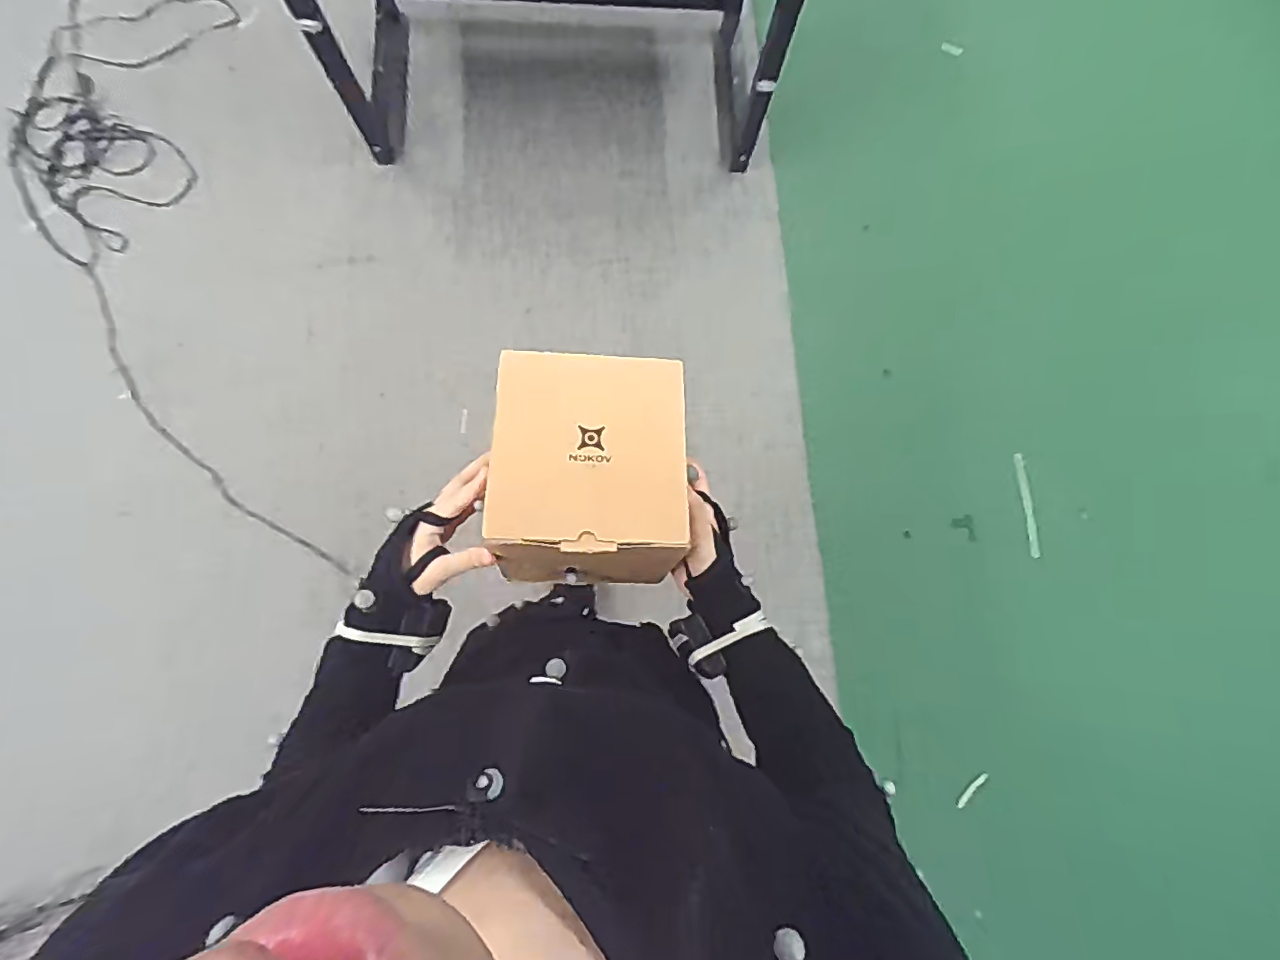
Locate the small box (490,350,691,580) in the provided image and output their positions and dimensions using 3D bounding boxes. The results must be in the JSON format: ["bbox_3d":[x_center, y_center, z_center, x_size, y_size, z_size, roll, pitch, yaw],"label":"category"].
[{"bbox_3d":[-0.050,-0.004,0.536,0.168,0.176,0.179,2,71,-7],"label":"small box"}]
